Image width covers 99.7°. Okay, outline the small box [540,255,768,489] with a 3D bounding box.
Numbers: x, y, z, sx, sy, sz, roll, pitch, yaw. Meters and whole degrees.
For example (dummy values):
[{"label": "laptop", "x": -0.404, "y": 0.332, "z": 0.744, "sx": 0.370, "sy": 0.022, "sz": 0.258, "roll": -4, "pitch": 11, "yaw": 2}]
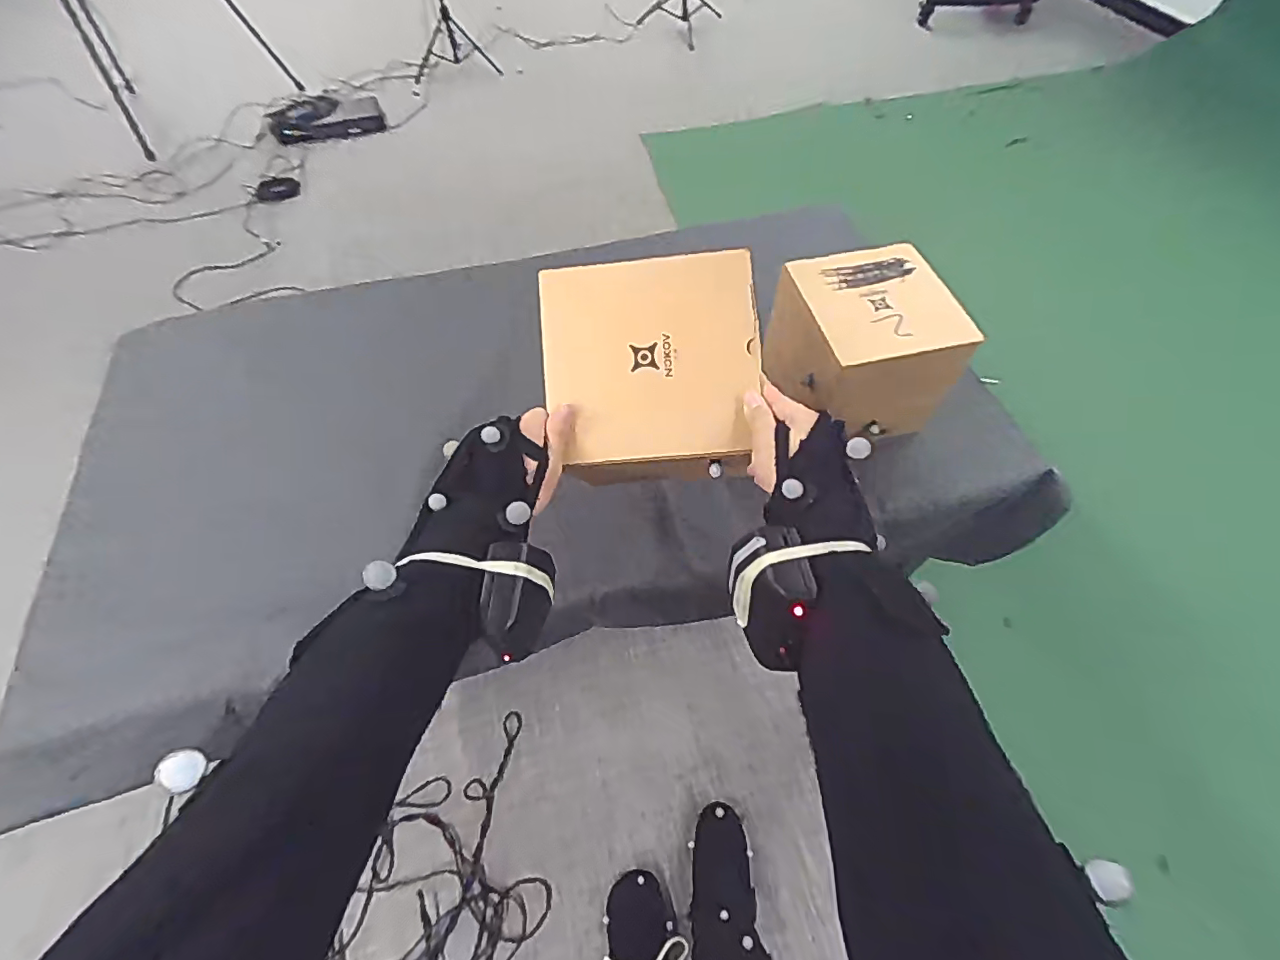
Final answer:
[{"label": "small box", "x": 0.015, "y": -0.084, "z": 0.508, "sx": 0.179, "sy": 0.176, "sz": 0.168, "roll": -4, "pitch": 83, "yaw": 4}]
